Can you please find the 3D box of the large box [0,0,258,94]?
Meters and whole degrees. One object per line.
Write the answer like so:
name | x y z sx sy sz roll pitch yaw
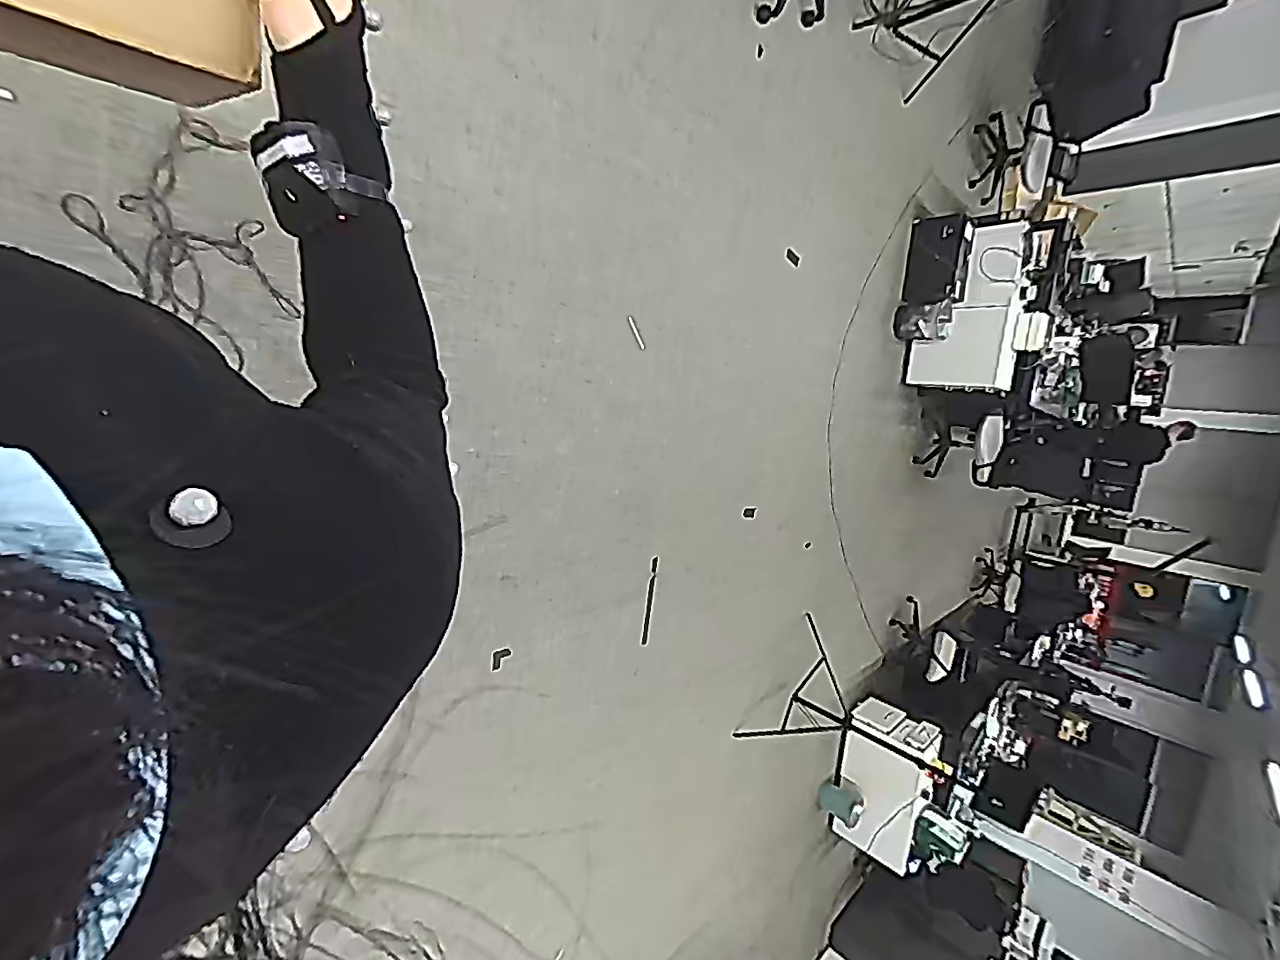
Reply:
large box | -0.500 -0.481 0.318 0.408 0.320 0.320 -7 117 -43
